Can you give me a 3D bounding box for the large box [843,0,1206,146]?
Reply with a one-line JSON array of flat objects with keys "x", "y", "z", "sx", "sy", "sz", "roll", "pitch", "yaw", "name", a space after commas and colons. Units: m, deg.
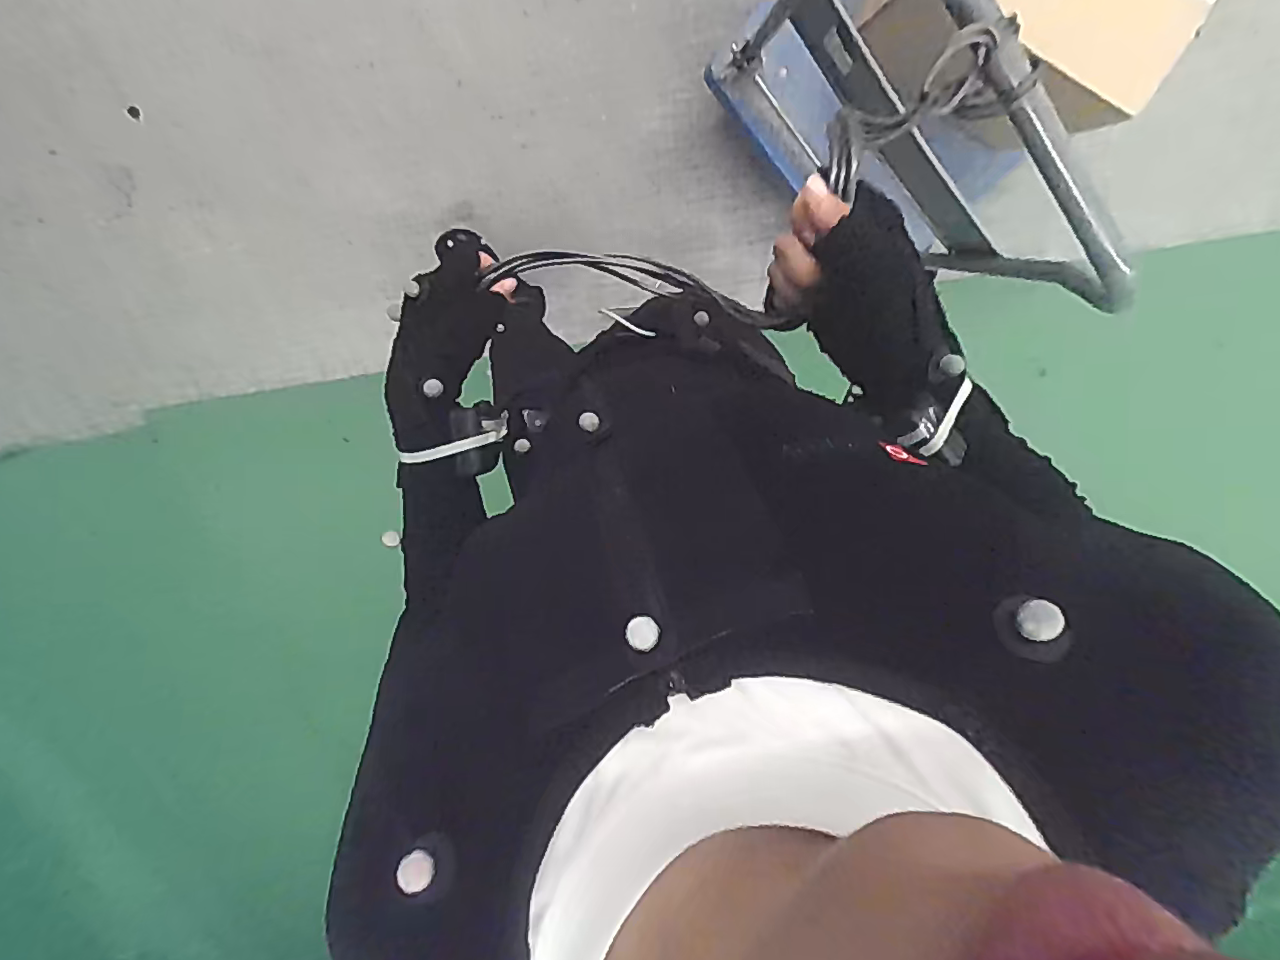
[{"x": 0.628, "y": -0.812, "z": 0.880, "sx": 0.408, "sy": 0.320, "sz": 0.320, "roll": 21, "pitch": 110, "yaw": -11, "name": "large box"}]
